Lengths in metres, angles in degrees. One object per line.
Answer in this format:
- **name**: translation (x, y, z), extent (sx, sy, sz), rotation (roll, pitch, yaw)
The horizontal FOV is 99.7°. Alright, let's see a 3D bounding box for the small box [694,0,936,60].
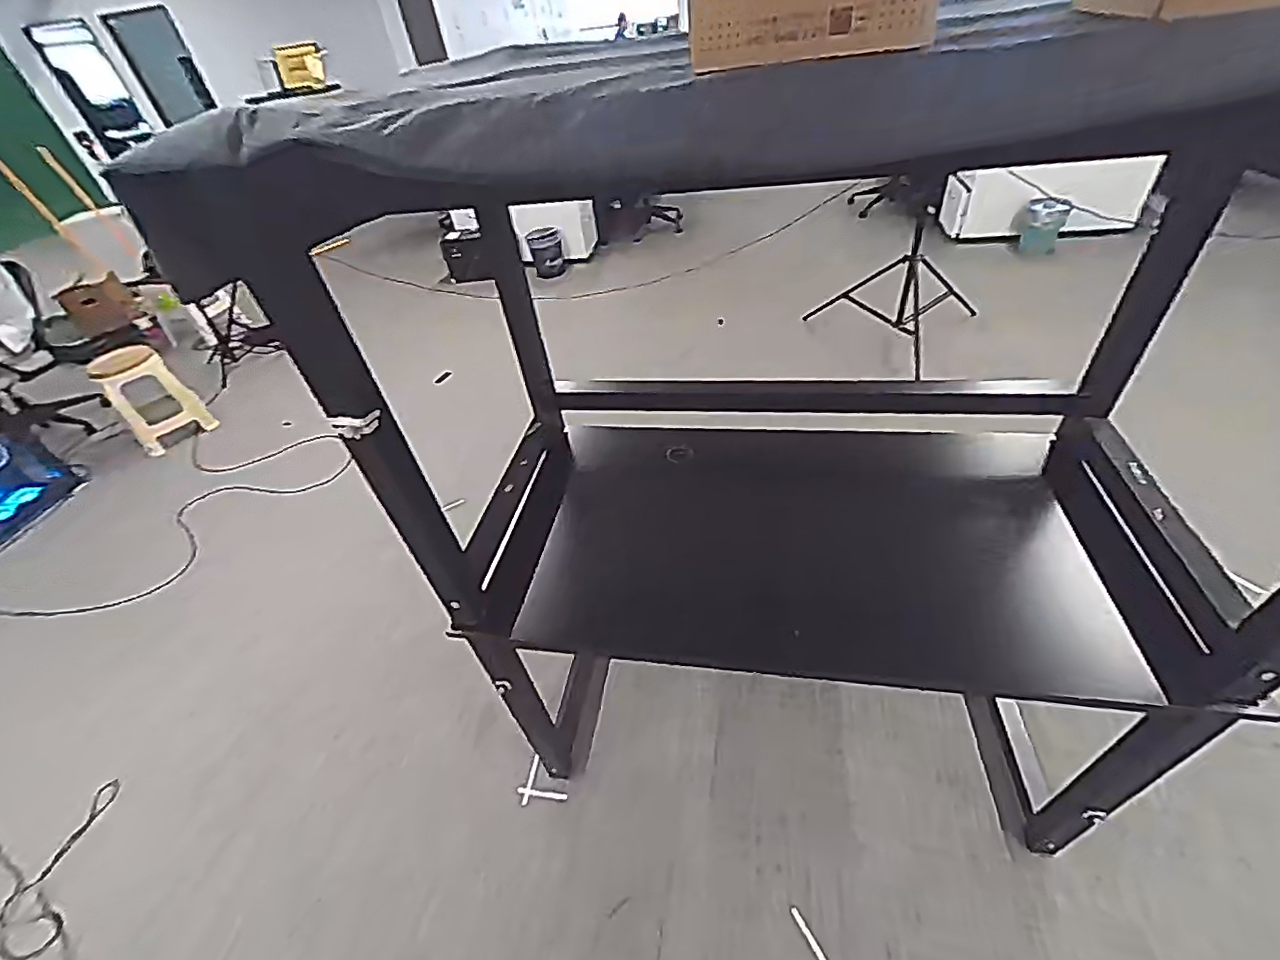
- **small box**: translation (0.127, -0.419, 0.391), extent (0.168, 0.176, 0.179), rotation (3, 41, 13)

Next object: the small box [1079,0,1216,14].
- **small box**: translation (0.420, -0.409, 0.332), extent (0.168, 0.176, 0.179), rotation (5, 42, 15)
